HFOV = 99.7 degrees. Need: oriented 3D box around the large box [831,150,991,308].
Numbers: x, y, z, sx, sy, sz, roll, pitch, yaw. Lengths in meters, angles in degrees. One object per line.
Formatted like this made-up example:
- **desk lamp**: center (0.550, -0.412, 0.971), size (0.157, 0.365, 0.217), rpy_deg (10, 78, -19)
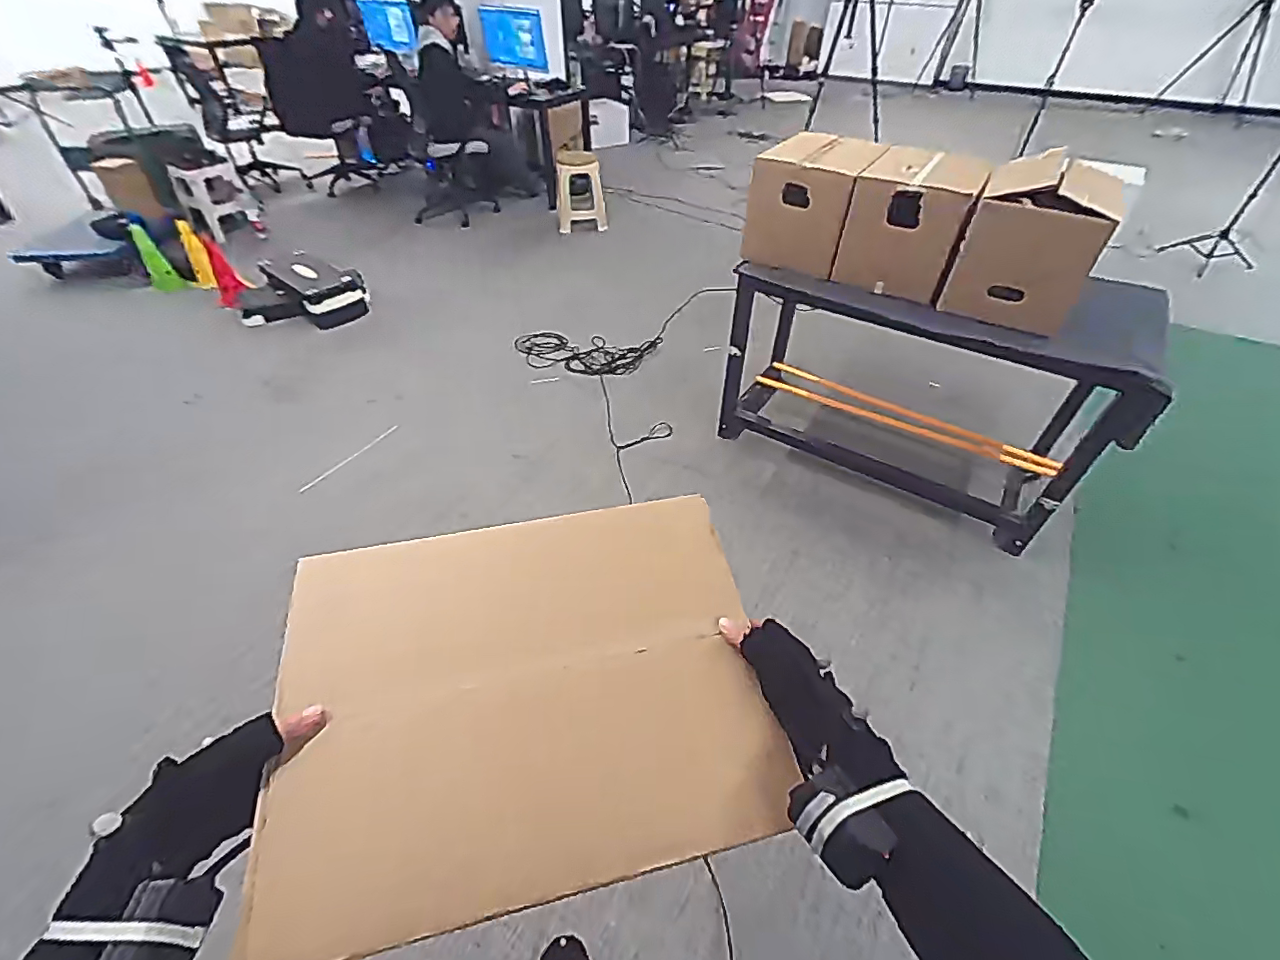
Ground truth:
- **large box**: center (0.841, -0.795, 1.694), size (0.320, 0.320, 0.408), rpy_deg (23, 50, 23)
